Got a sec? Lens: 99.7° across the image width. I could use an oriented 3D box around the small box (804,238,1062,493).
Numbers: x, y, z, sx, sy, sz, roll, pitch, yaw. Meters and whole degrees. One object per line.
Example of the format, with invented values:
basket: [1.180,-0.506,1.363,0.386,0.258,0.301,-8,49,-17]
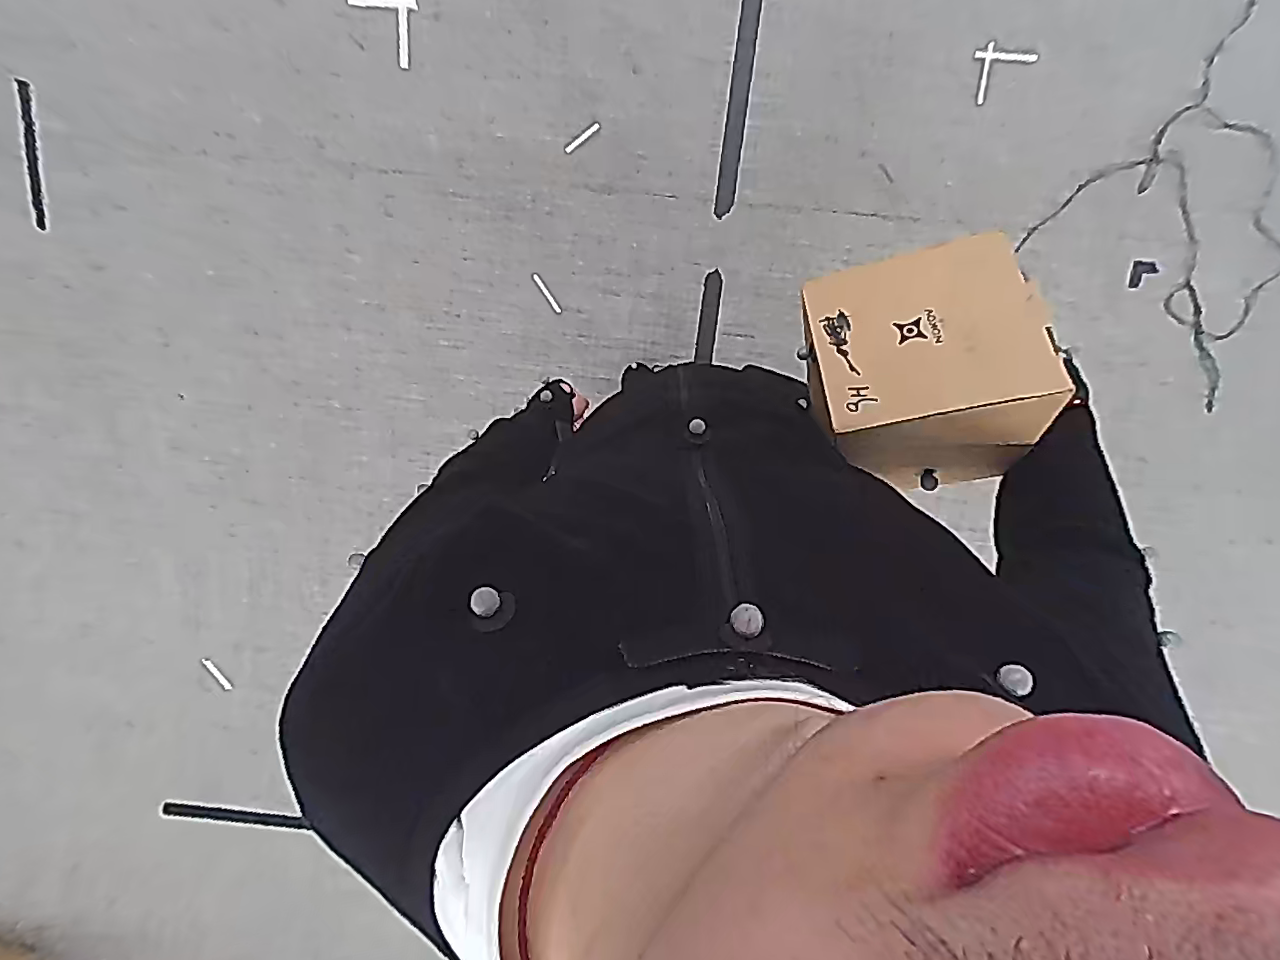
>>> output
small box: [0.268,-0.100,0.544,0.179,0.176,0.168,-10,64,15]
